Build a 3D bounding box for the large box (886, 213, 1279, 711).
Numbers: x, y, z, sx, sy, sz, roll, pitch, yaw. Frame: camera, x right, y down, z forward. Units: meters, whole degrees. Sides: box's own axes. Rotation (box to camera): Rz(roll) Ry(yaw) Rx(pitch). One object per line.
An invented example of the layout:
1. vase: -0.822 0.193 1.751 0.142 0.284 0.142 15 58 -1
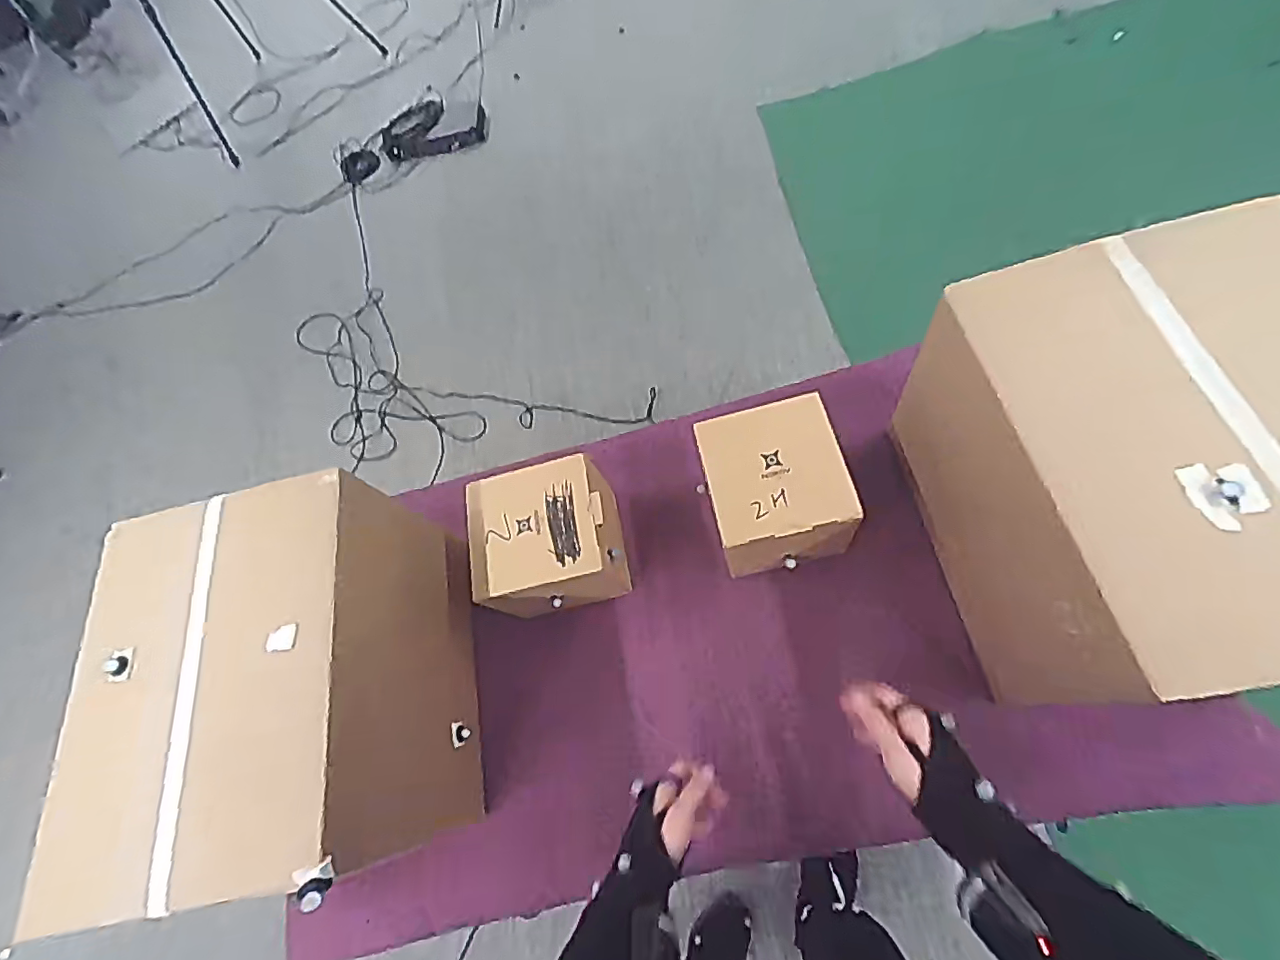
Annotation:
1. large box: 0.518 0.009 0.587 0.320 0.320 0.408 -14 65 8
